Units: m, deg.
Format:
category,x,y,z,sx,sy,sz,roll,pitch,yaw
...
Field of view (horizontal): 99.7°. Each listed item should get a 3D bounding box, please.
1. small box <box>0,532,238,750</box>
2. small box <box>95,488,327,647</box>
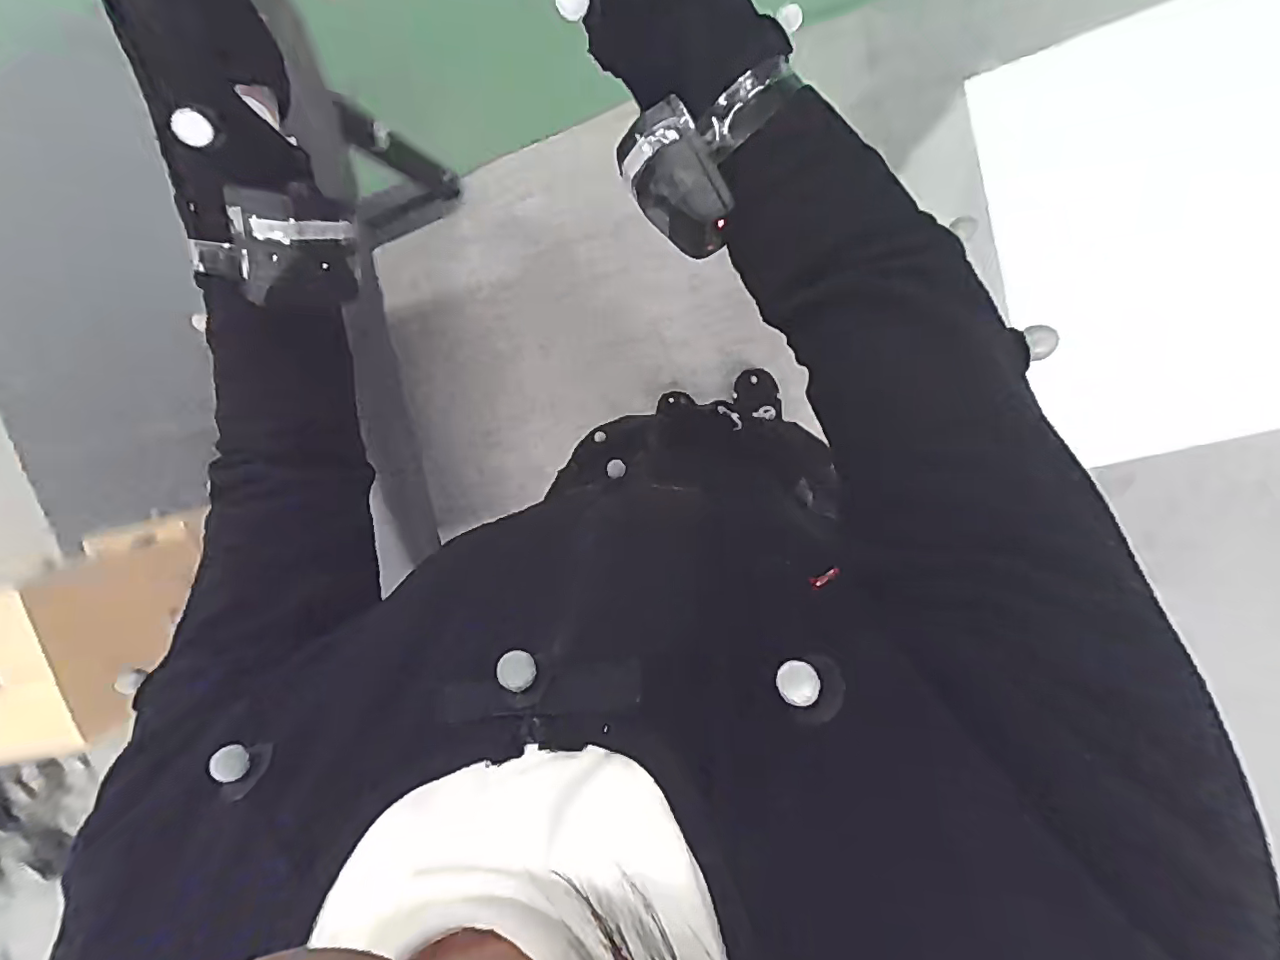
category,x,y,z,sx,sy,sz,roll,pitch,yaw
small box,-0.610,0.171,0.605,0.179,0.176,0.168,-15,97,16
small box,-0.584,0.124,0.761,0.168,0.176,0.179,-11,99,14
